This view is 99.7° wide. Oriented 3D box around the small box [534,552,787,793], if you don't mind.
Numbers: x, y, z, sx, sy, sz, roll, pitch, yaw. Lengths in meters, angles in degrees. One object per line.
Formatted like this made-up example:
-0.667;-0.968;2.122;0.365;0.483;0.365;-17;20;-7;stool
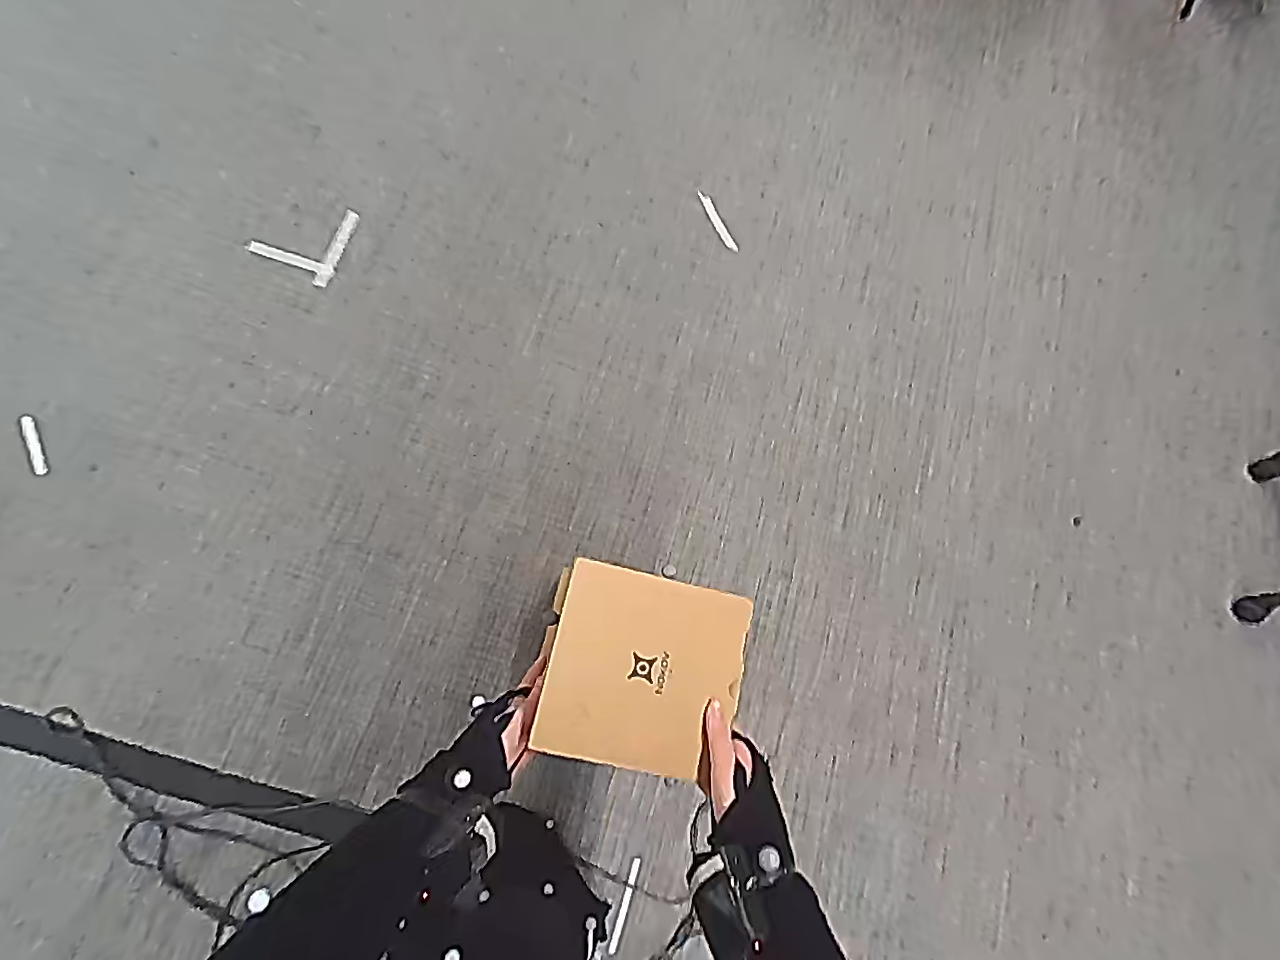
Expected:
0.017;0.189;0.506;0.168;0.176;0.179;20;56;-24;small box
